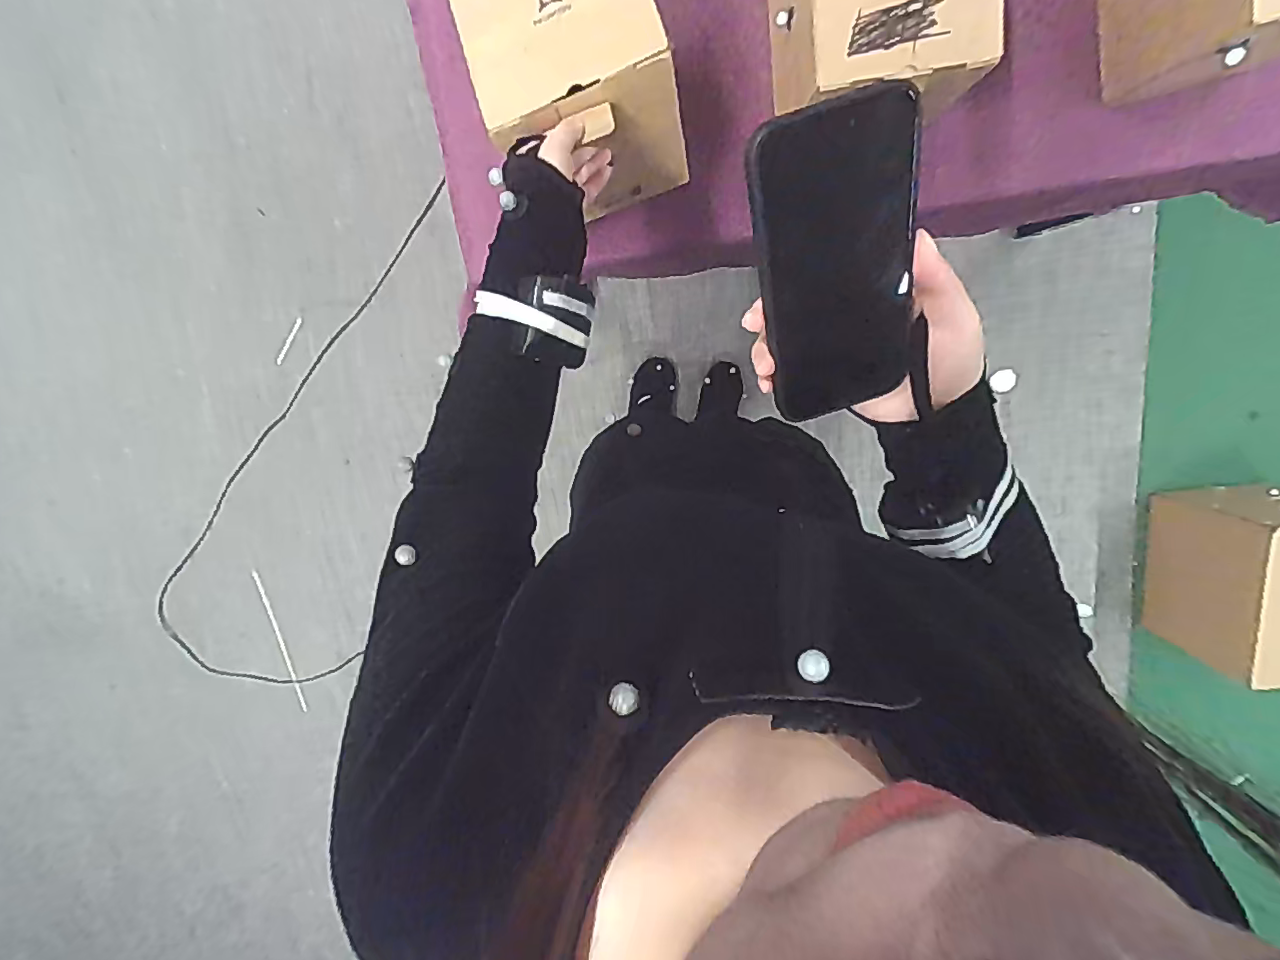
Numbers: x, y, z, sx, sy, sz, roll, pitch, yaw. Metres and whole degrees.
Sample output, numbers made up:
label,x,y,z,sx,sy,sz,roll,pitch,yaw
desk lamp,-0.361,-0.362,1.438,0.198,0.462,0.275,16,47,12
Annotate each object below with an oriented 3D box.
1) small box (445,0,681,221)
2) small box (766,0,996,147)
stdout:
label,x,y,z,sx,sy,sz,roll,pitch,yaw
small box,-0.065,-0.390,0.536,0.168,0.176,0.179,-18,83,9
small box,0.230,-0.465,0.549,0.168,0.176,0.179,-7,102,3
